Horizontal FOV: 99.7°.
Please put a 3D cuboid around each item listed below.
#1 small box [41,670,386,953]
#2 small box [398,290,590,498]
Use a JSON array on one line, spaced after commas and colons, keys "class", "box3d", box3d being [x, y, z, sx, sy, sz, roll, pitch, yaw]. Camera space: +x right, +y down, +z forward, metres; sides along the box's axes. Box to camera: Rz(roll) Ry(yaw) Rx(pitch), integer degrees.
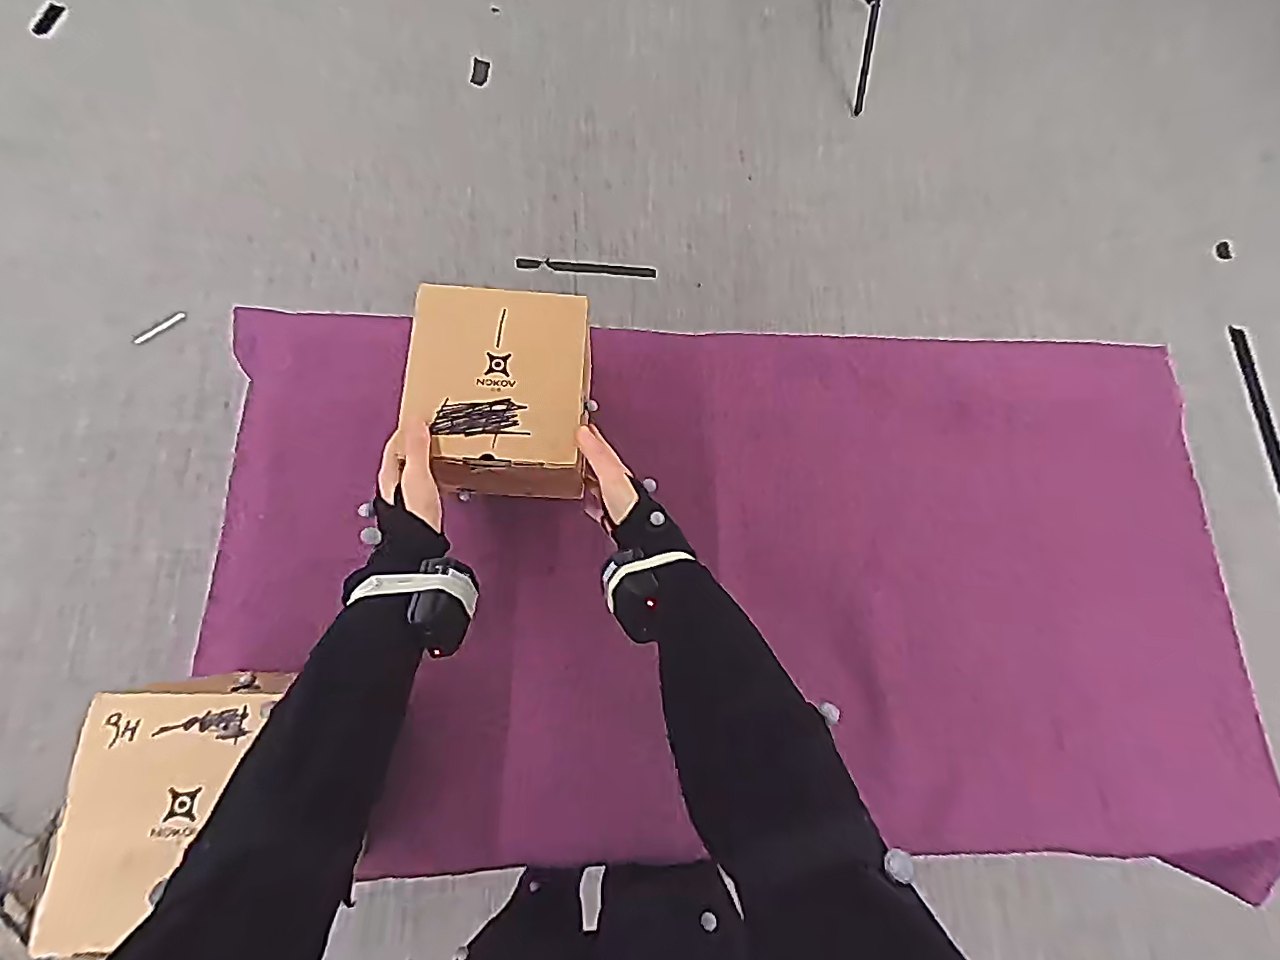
[{"class": "small box", "box3d": [-0.349, 0.274, 0.486, 0.168, 0.176, 0.179, 2, 76, -4]}, {"class": "small box", "box3d": [-0.142, -0.080, 0.593, 0.168, 0.176, 0.179, 3, 76, -4]}]
